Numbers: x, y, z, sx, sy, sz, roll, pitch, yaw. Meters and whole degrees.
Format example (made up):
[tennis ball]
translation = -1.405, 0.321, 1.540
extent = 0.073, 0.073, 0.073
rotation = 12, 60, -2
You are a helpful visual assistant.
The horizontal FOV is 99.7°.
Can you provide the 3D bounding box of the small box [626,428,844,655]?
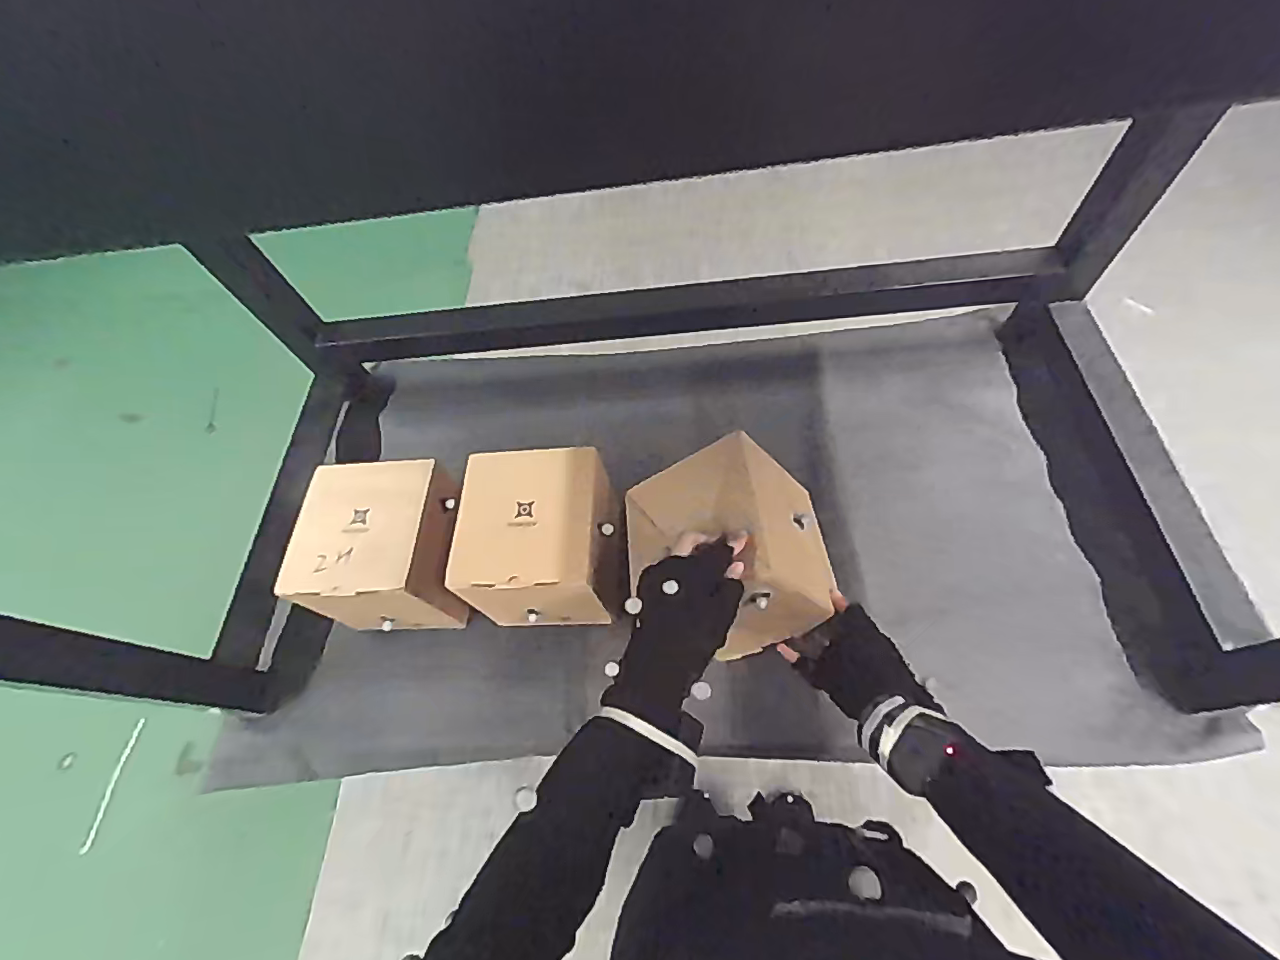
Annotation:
[small box]
translation = 0.100, 0.076, 0.615
extent = 0.168, 0.176, 0.179
rotation = -29, 48, 28
